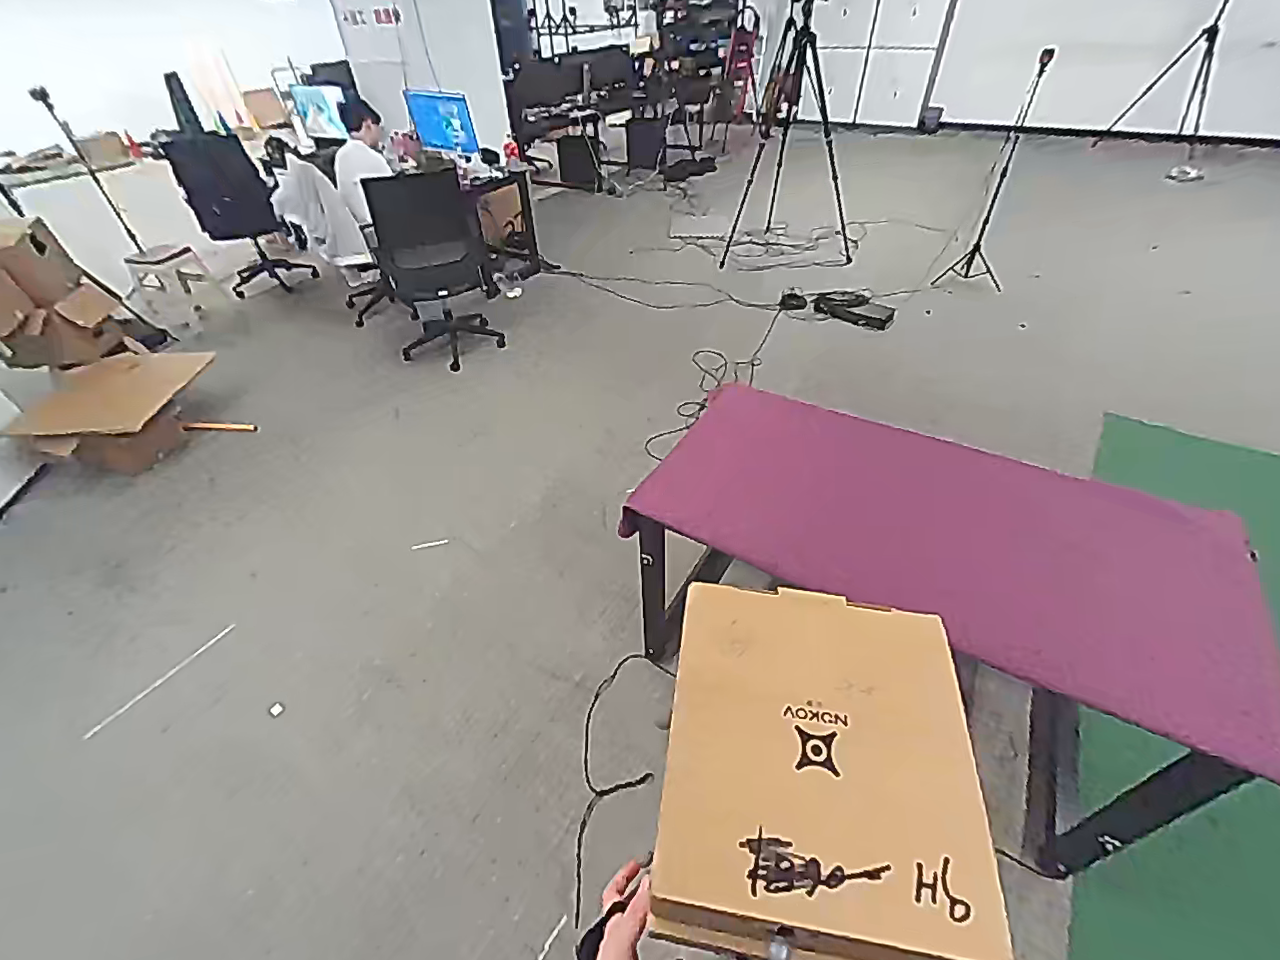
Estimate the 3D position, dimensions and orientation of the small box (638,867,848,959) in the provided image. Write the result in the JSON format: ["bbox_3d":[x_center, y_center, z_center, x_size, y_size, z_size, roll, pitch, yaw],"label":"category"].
[{"bbox_3d":[0.097,0.312,0.484,0.168,0.176,0.179,8,49,8],"label":"small box"}]

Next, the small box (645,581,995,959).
[{"bbox_3d":[0.097,0.196,0.368,0.168,0.176,0.179,6,49,8],"label":"small box"}]
